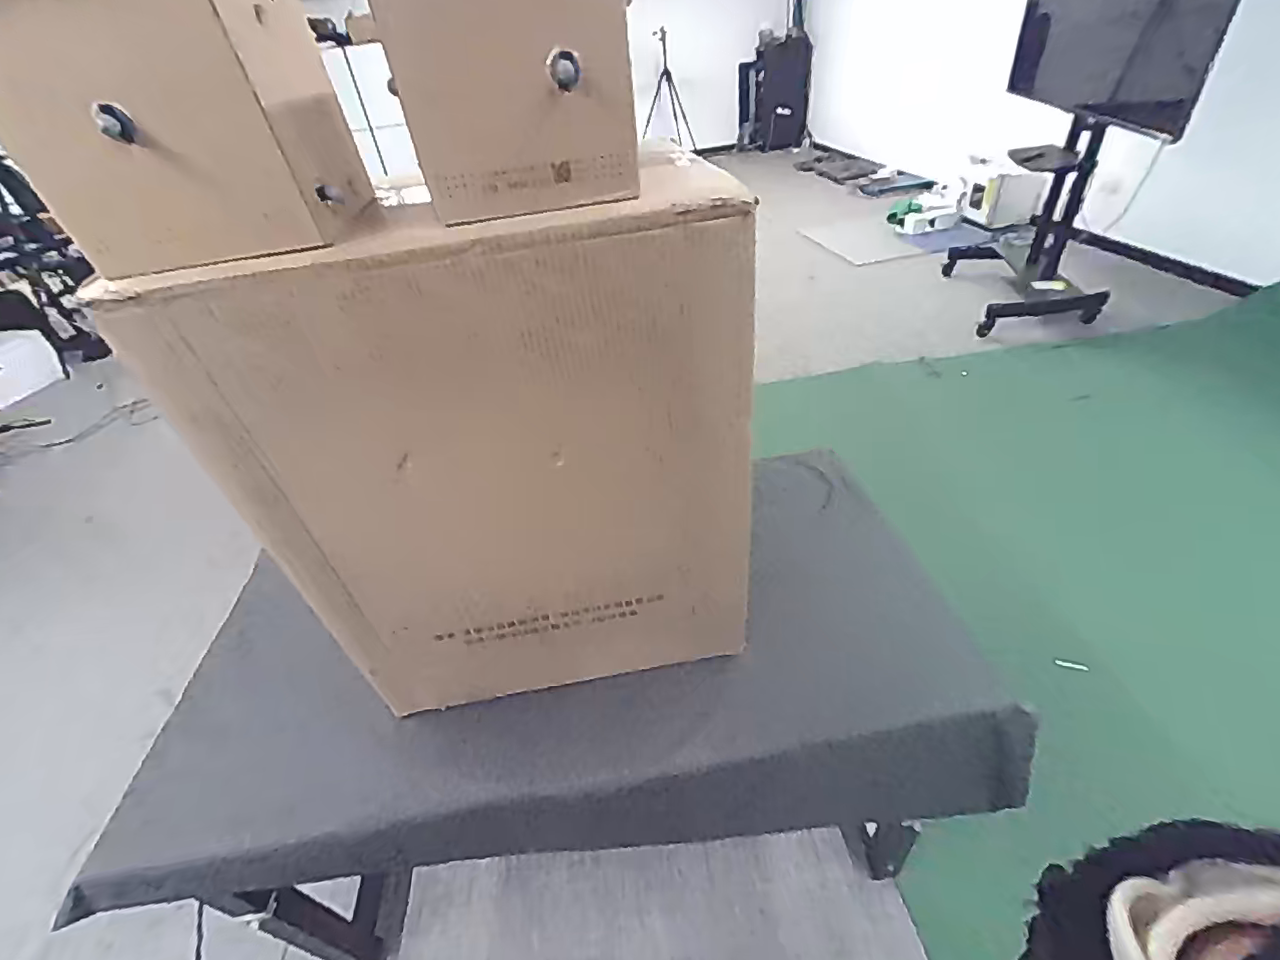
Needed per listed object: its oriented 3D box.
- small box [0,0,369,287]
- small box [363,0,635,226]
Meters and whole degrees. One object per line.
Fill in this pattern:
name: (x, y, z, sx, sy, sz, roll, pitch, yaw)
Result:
small box: (-0.346, -0.274, 0.432, 0.179, 0.176, 0.168, -11, 41, -5)
small box: (-0.100, -0.322, 0.451, 0.168, 0.176, 0.179, -8, 39, -3)
